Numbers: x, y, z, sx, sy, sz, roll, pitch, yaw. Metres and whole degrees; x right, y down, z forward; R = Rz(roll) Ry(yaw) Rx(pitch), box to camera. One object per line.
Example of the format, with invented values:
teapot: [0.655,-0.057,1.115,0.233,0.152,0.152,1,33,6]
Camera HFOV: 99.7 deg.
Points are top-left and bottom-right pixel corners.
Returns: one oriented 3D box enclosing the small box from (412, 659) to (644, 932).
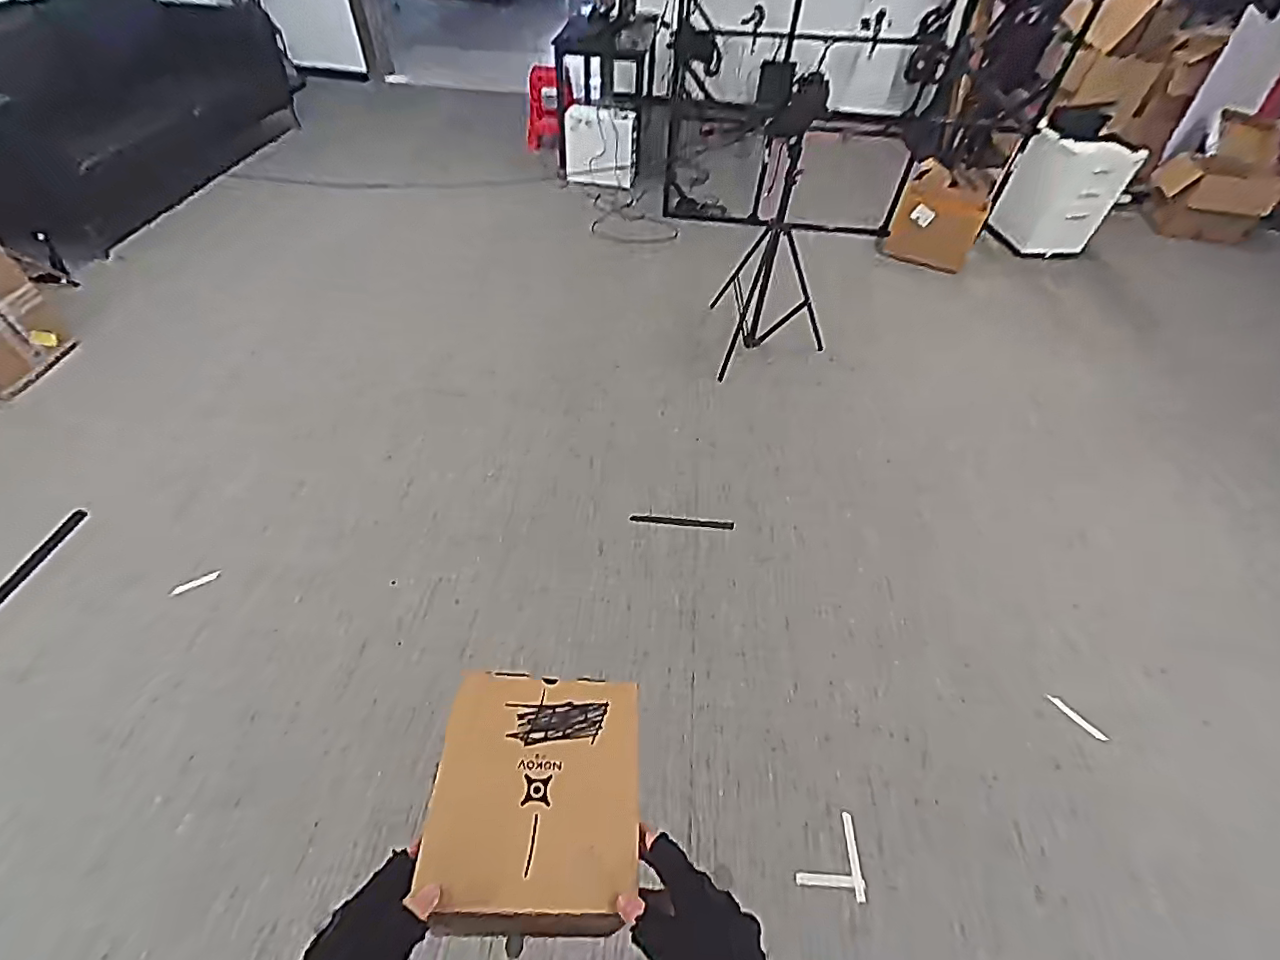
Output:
small box: [-0.091,0.289,0.495,0.168,0.176,0.179,6,45,-6]
